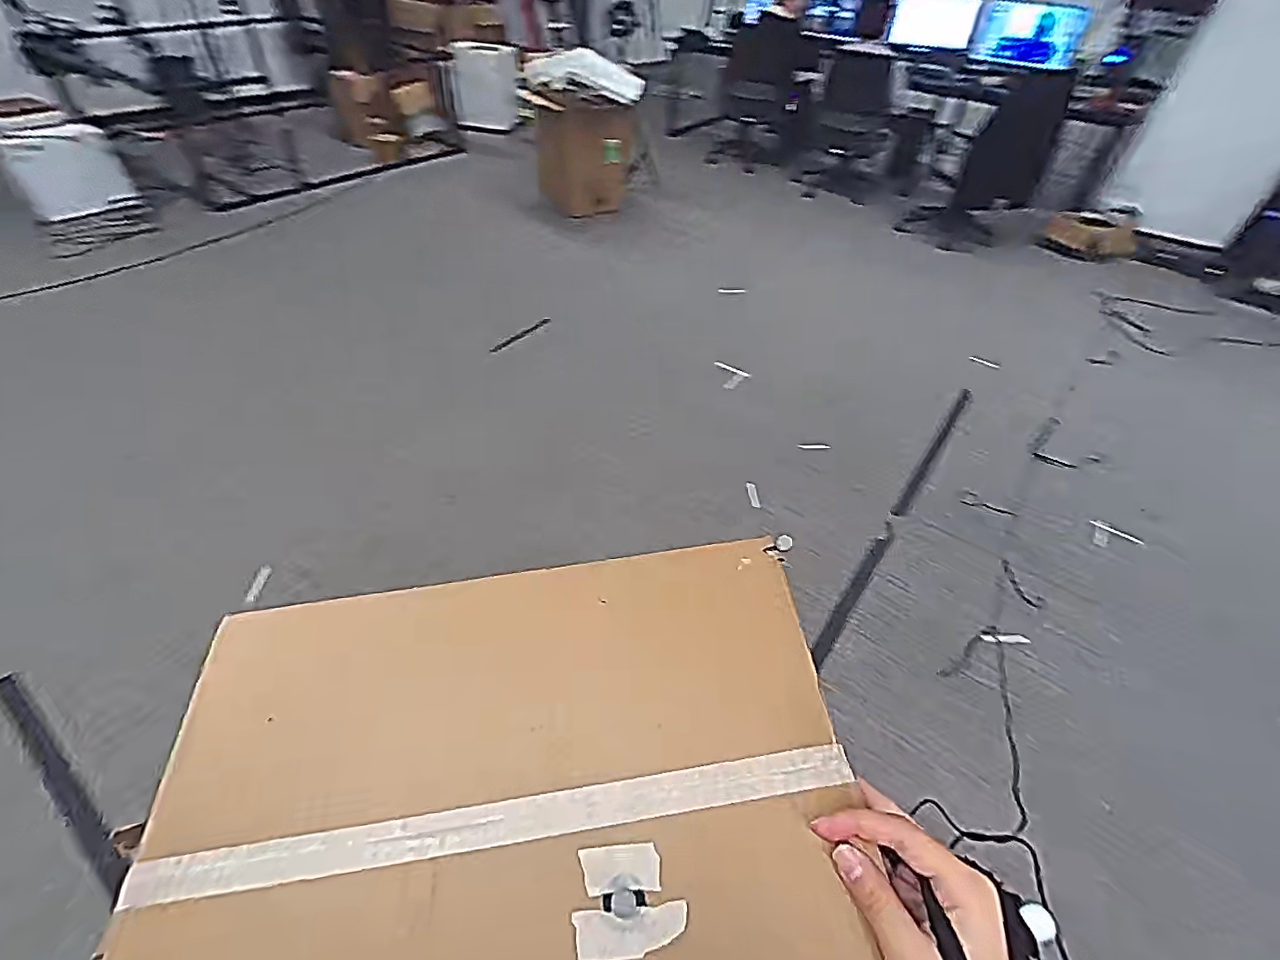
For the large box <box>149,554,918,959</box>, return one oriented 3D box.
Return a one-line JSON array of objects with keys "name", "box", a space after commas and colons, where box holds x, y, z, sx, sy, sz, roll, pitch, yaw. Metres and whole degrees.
[{"name": "large box", "box": [-0.061, 0.292, 0.434, 0.408, 0.320, 0.320, -7, 54, -3]}]
